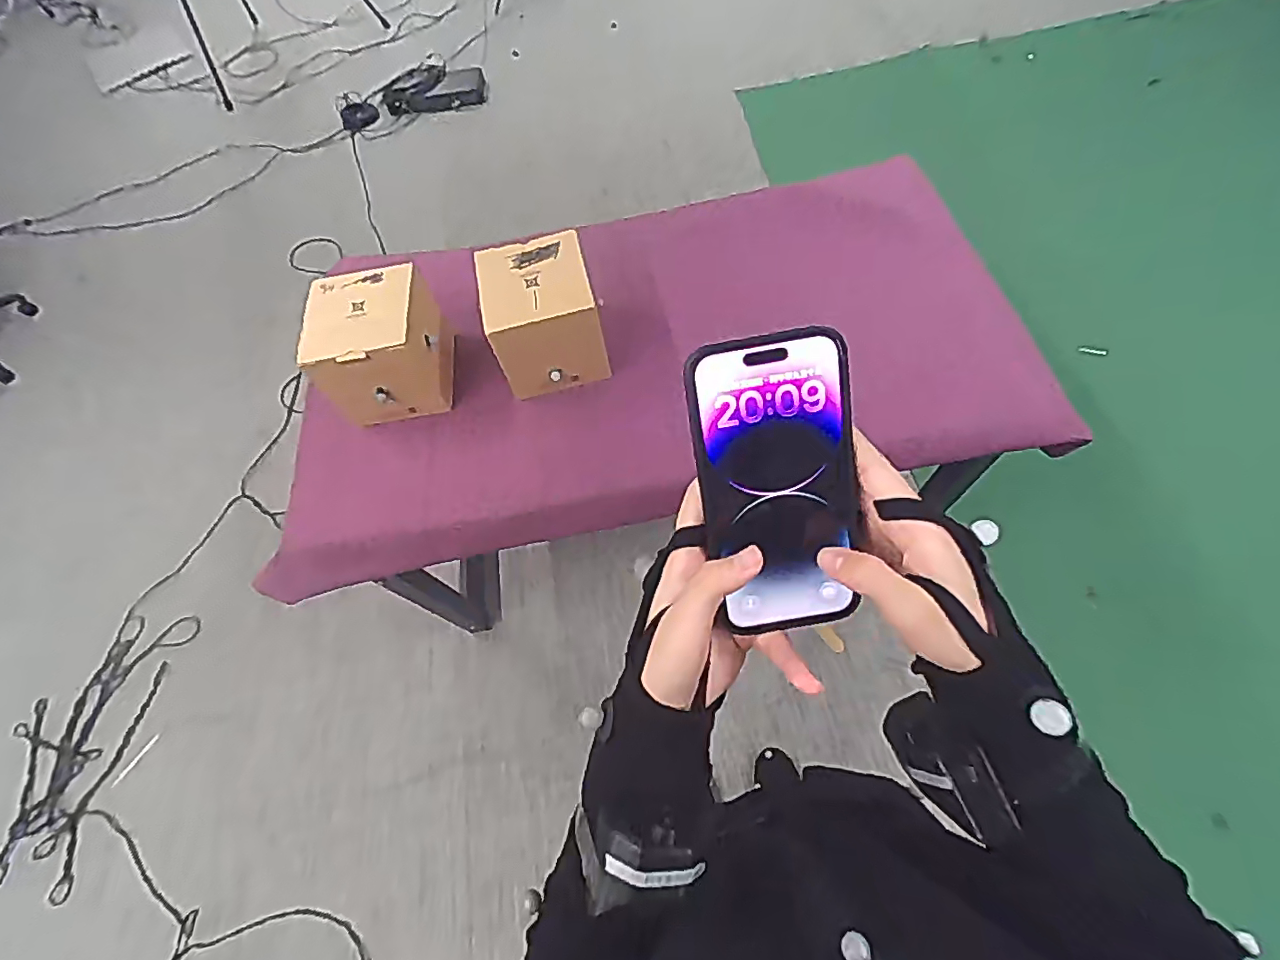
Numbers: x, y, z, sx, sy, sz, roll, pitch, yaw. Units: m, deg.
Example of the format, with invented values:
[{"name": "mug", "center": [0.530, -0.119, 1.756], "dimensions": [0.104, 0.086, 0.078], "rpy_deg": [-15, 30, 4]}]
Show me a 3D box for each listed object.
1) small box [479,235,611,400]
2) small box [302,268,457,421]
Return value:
[{"name": "small box", "center": [-0.151, -0.260, 0.885], "dimensions": [0.168, 0.176, 0.179], "rpy_deg": [-14, 62, 0]}, {"name": "small box", "center": [-0.415, -0.212, 0.892], "dimensions": [0.168, 0.176, 0.179], "rpy_deg": [-9, 63, 2]}]
